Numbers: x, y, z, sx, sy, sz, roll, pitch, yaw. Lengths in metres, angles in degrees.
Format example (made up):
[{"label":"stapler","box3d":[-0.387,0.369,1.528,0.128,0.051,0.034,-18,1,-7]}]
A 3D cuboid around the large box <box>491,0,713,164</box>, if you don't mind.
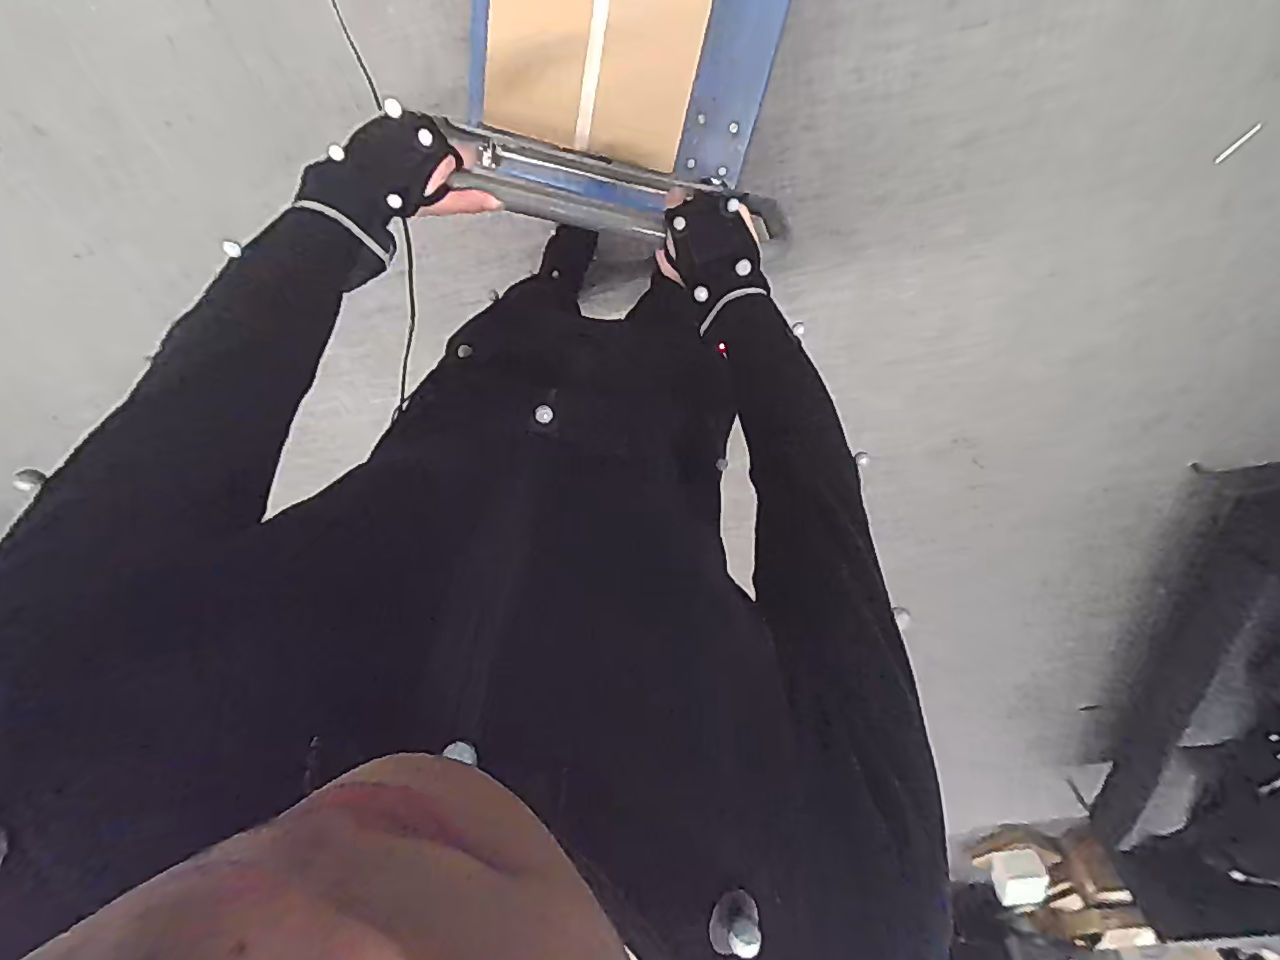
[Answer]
[{"label":"large box","box3d":[-0.047,-0.792,0.905,0.320,0.320,0.408,11,122,-7]}]
